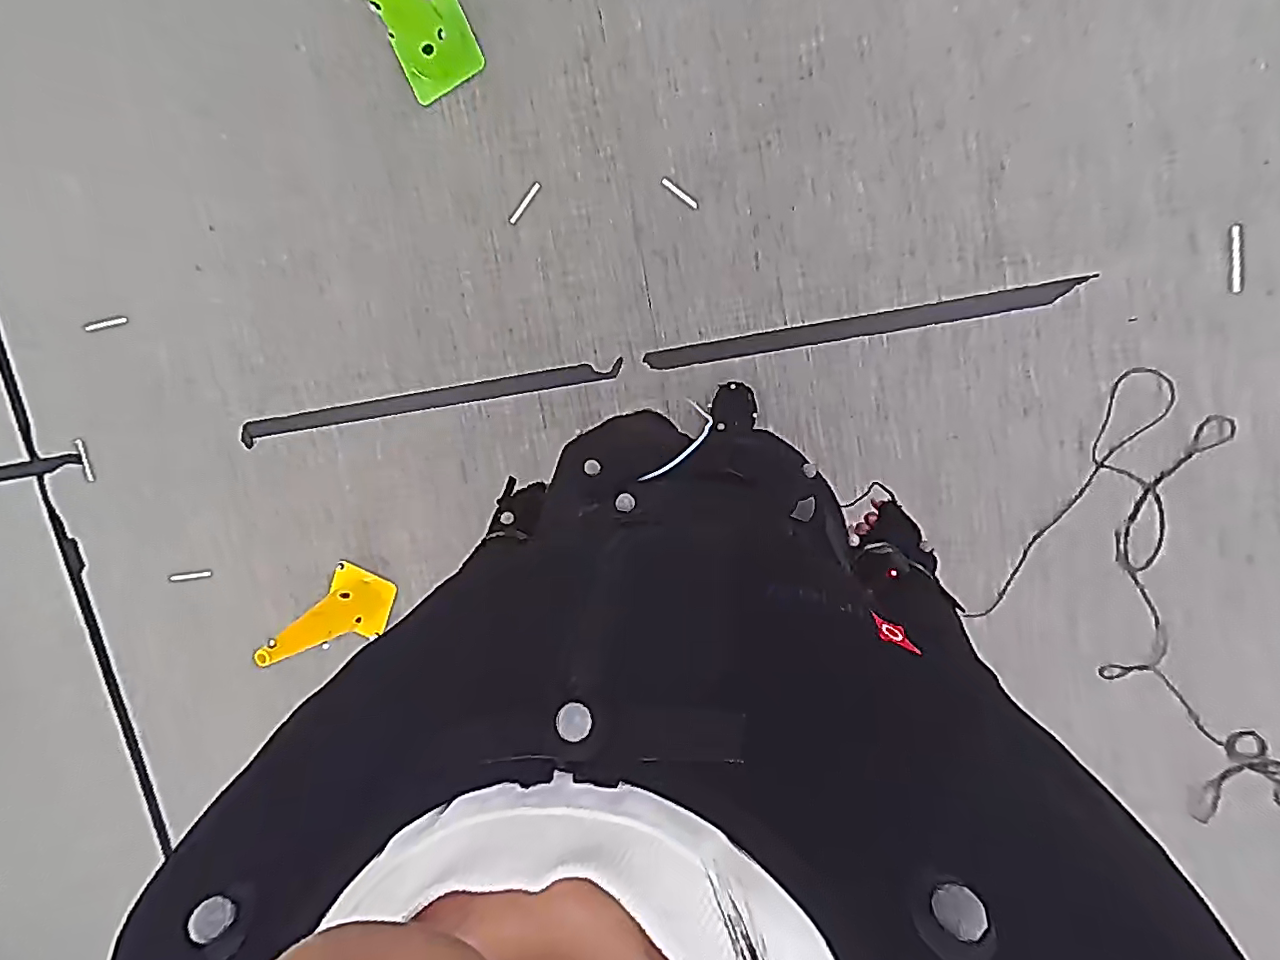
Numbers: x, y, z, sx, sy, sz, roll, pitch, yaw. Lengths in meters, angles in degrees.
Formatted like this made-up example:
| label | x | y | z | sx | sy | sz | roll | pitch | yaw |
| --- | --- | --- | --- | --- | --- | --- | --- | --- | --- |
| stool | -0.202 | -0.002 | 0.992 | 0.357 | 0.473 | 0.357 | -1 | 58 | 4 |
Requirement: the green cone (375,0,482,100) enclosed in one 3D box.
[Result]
| label | x | y | z | sx | sy | sz | roll | pitch | yaw |
| --- | --- | --- | --- | --- | --- | --- | --- | --- | --- |
| green cone | -0.534 | -1.054 | 1.176 | 0.202 | 0.368 | 0.200 | -24 | 95 | 11 |
